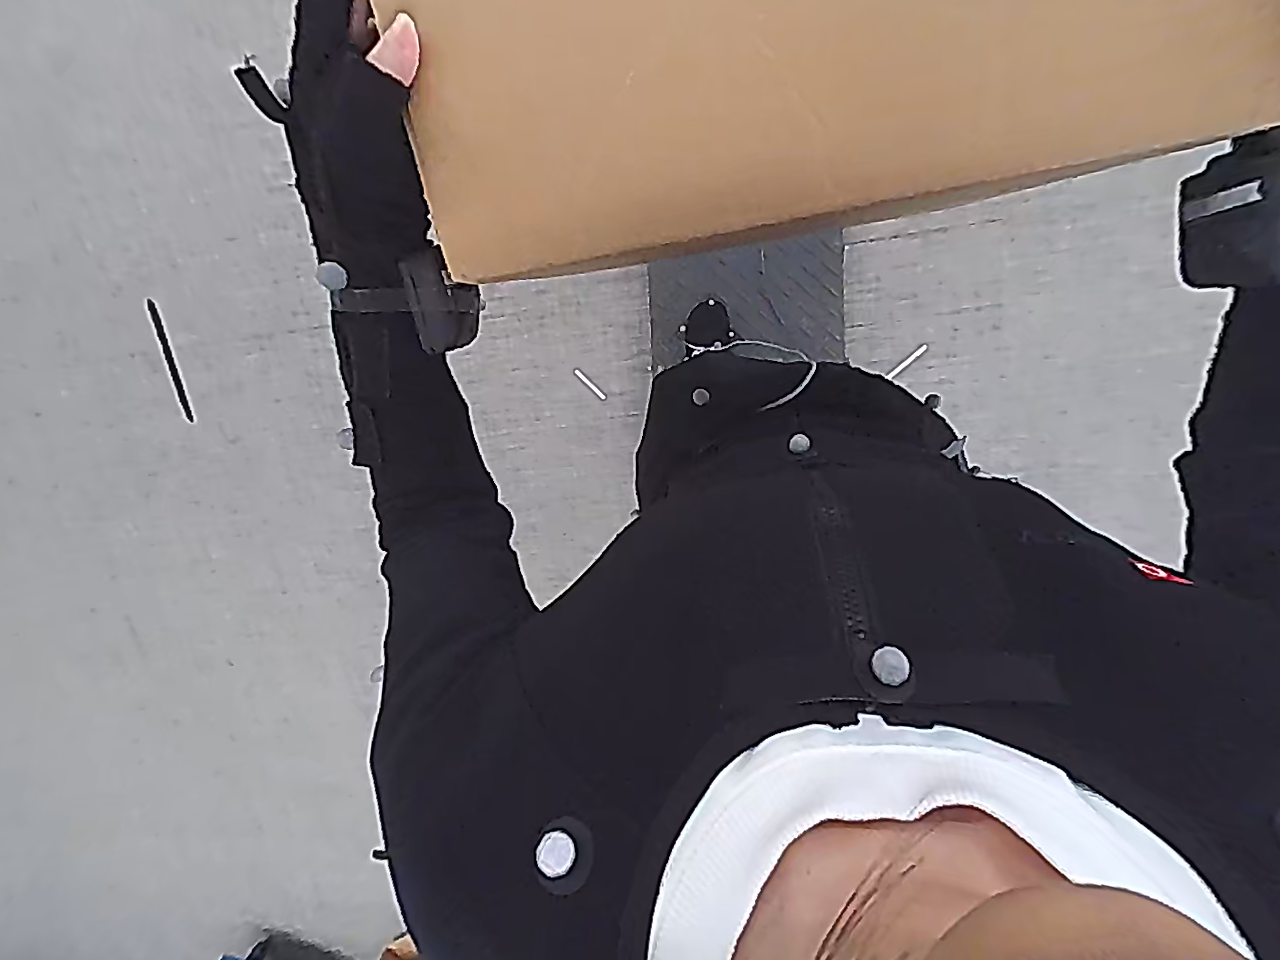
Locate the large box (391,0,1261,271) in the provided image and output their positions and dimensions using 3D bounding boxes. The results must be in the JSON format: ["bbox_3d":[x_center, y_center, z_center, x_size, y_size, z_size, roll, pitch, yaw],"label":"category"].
[{"bbox_3d":[0.078,-0.345,0.375,0.408,0.320,0.320,-7,111,10],"label":"large box"}]
